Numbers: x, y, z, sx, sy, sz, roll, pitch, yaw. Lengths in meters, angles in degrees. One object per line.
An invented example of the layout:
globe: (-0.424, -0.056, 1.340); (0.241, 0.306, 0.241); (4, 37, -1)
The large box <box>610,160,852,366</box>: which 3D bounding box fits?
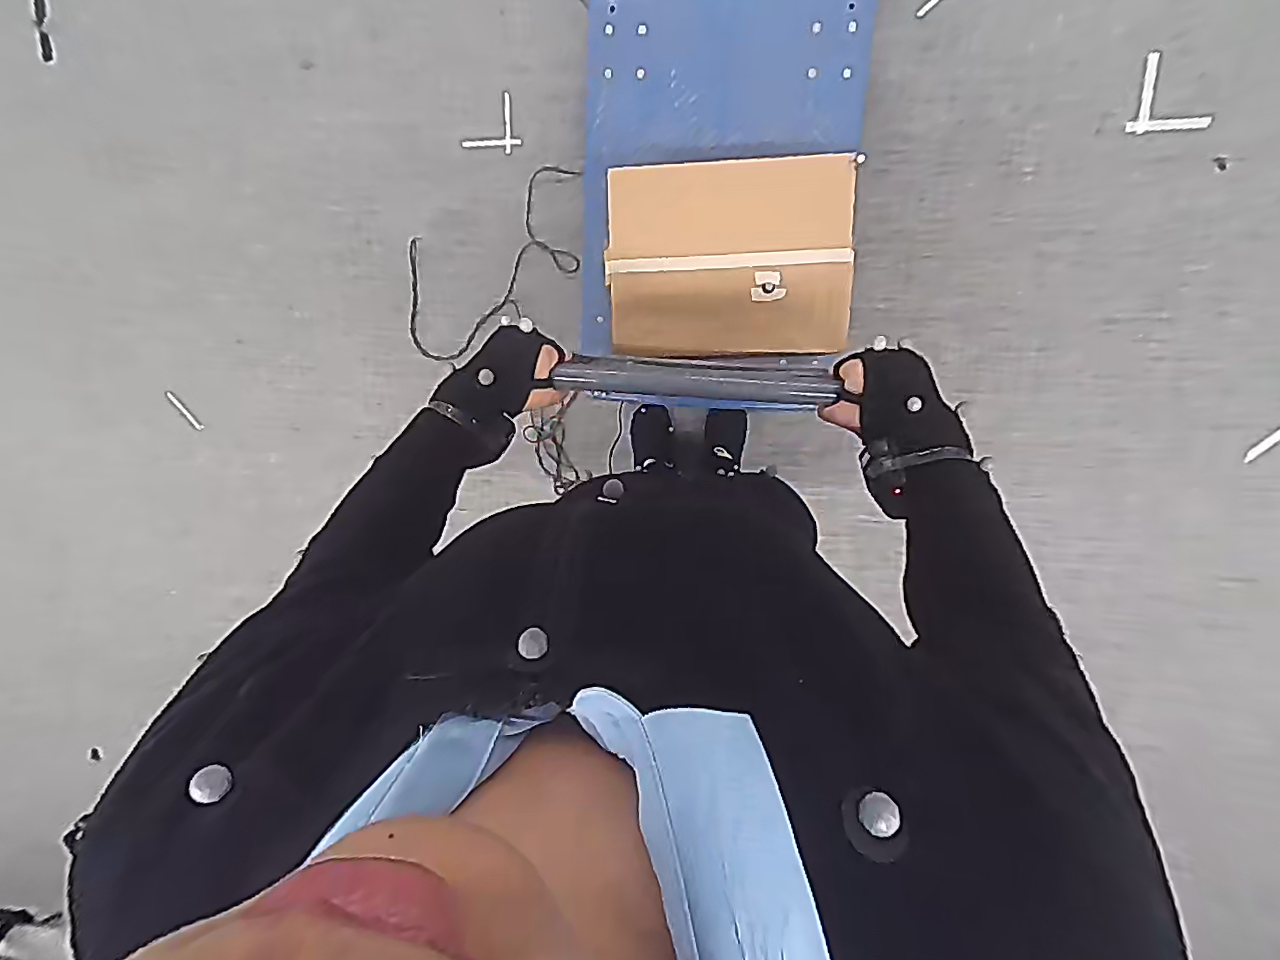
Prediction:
large box: (0.164, -0.393, 1.068); (0.408, 0.320, 0.320); (-1, 101, 5)
